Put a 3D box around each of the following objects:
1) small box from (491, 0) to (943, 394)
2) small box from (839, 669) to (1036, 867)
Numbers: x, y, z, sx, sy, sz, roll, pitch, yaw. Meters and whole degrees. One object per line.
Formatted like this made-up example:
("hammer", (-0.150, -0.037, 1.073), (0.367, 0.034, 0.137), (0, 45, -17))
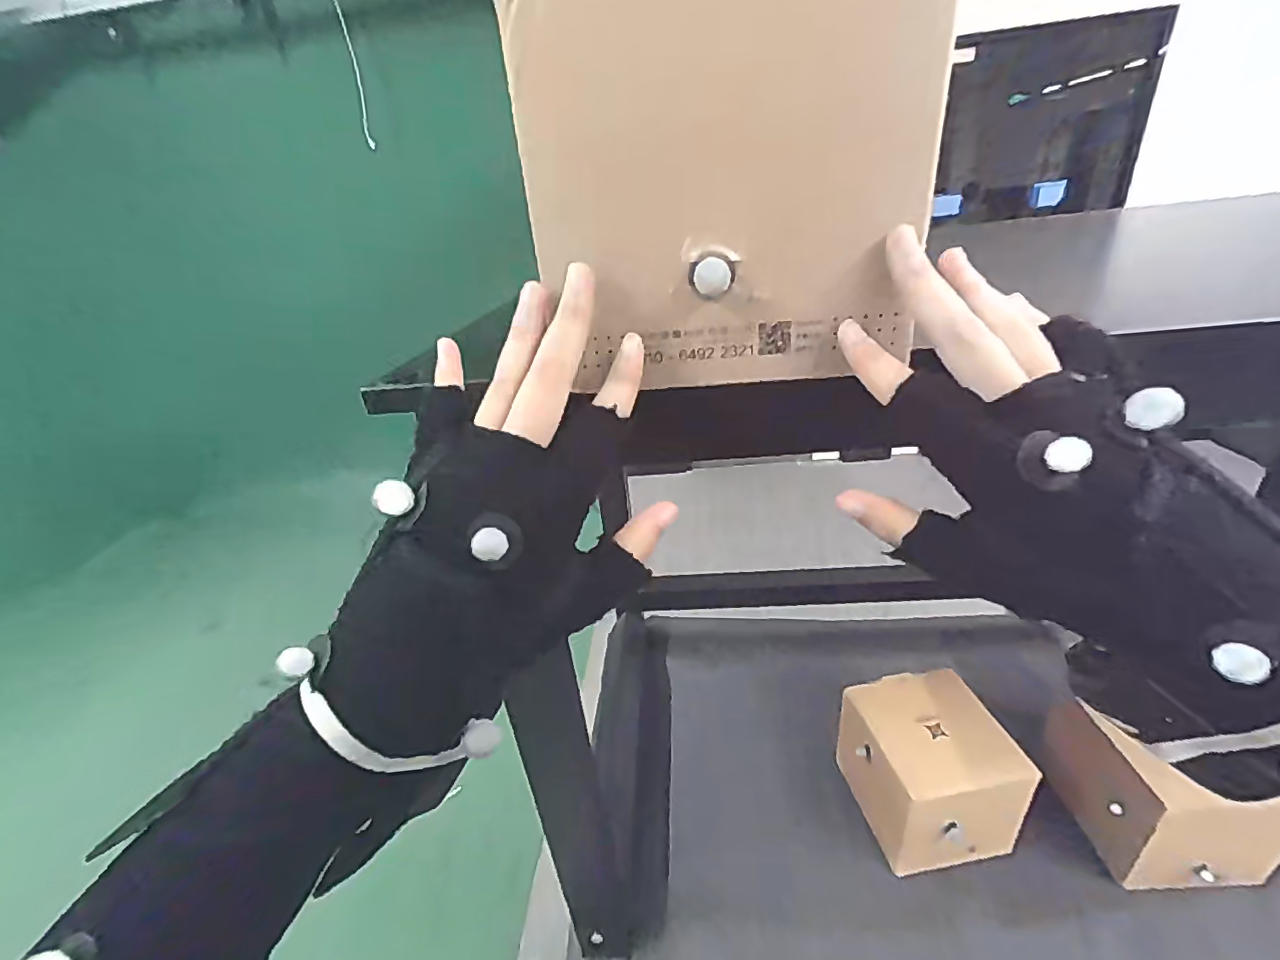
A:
("small box", (0.037, -0.154, 0.297), (0.168, 0.176, 0.179), (-3, 28, 7))
("small box", (0.393, 0.399, 0.749), (0.168, 0.176, 0.179), (-9, 27, -4))
